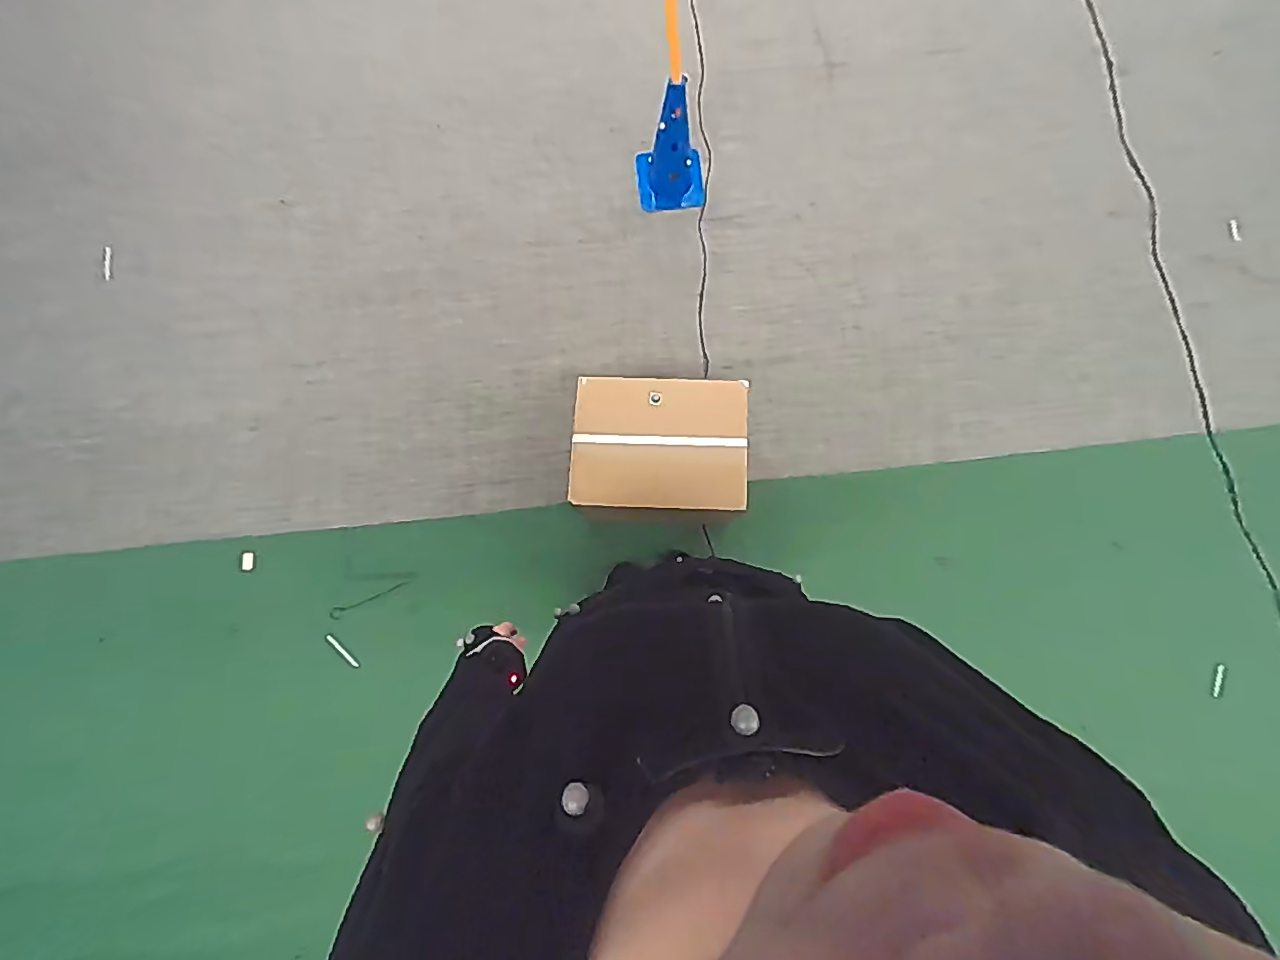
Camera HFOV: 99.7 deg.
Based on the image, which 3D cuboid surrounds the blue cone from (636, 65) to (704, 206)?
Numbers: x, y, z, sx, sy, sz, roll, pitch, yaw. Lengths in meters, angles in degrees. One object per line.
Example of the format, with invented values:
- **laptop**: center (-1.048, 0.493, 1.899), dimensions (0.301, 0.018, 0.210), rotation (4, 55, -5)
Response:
- **blue cone**: center (0.089, -0.960, 1.499), dimensions (0.193, 0.380, 0.192), rotation (-9, 82, 0)
